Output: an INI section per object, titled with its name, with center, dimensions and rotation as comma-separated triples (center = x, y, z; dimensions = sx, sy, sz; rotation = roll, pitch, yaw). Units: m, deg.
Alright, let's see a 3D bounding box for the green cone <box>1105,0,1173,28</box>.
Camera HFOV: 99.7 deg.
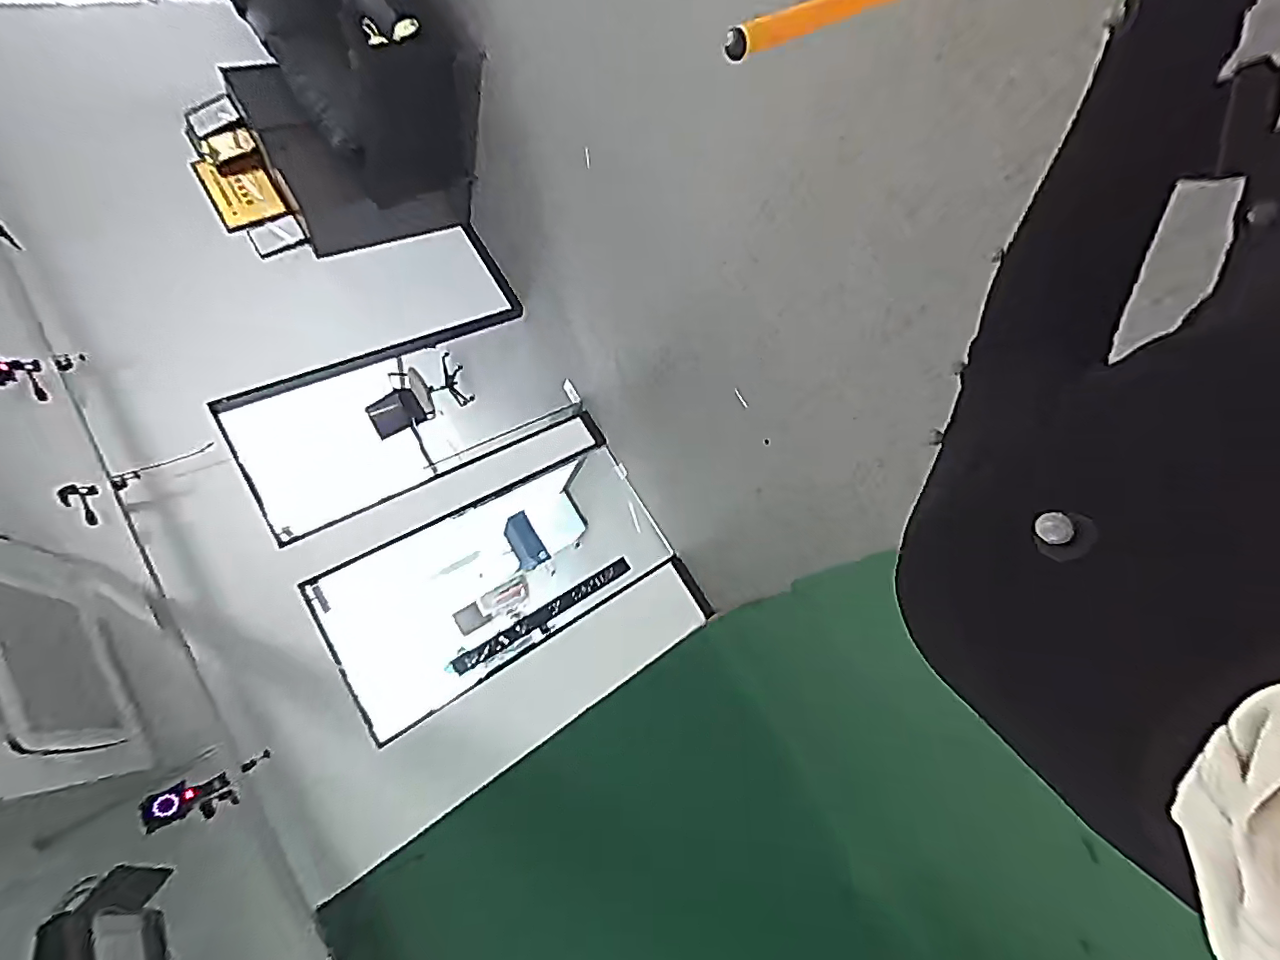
[green cone]
center = 0.818, -0.914, 0.897
dimensions = 0.200, 0.368, 0.202
rotation = 58, 151, 7
